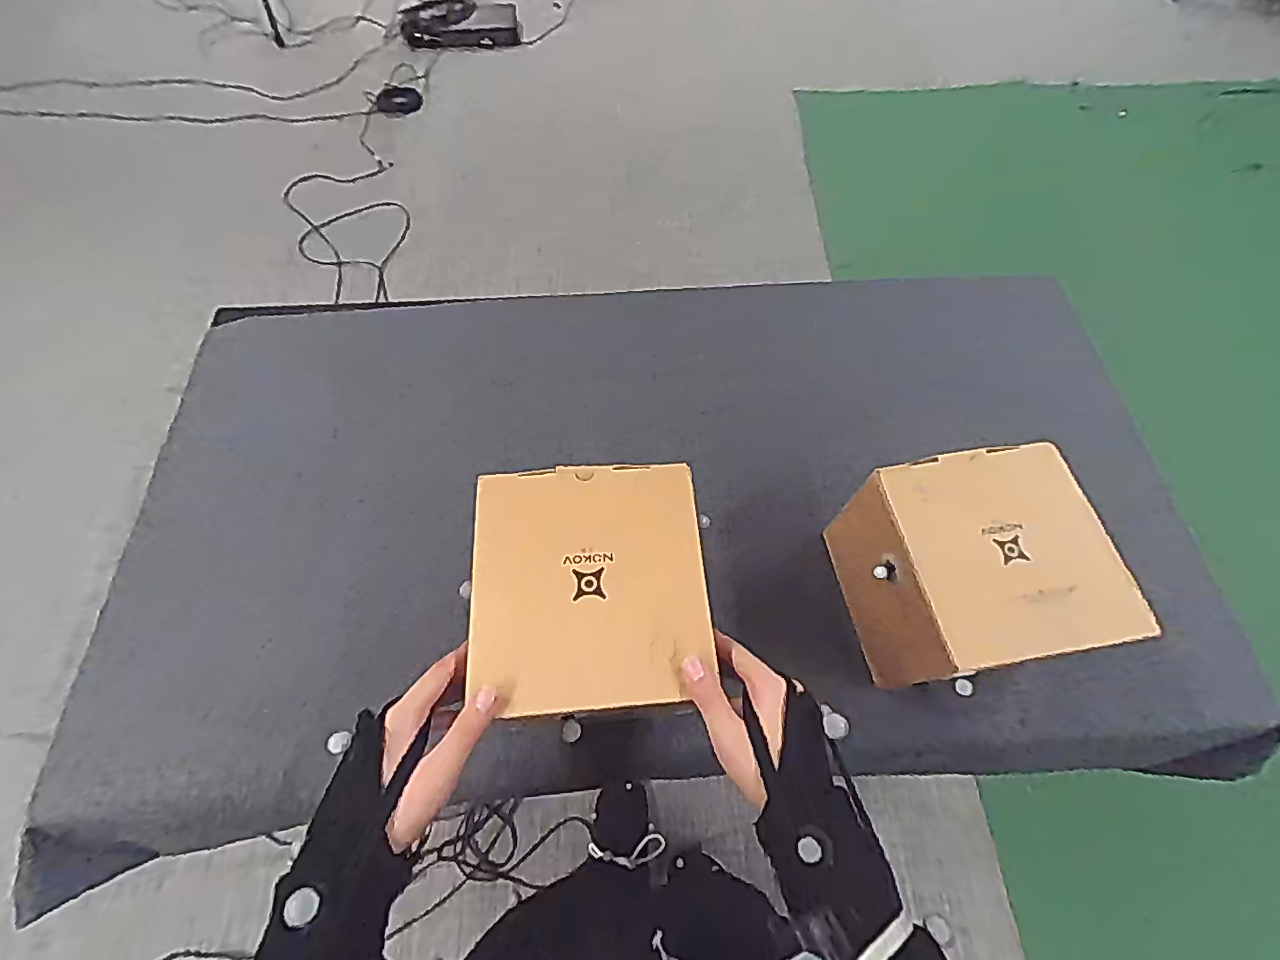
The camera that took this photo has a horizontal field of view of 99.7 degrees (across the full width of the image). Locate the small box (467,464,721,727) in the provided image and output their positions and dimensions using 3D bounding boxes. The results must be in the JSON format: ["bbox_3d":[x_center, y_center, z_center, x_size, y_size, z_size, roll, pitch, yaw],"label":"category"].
[{"bbox_3d":[-0.036,0.105,0.449,0.168,0.176,0.179,-4,63,-4],"label":"small box"}]

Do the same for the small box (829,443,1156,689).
[{"bbox_3d":[0.302,0.089,0.516,0.168,0.176,0.179,-10,65,-3],"label":"small box"}]
